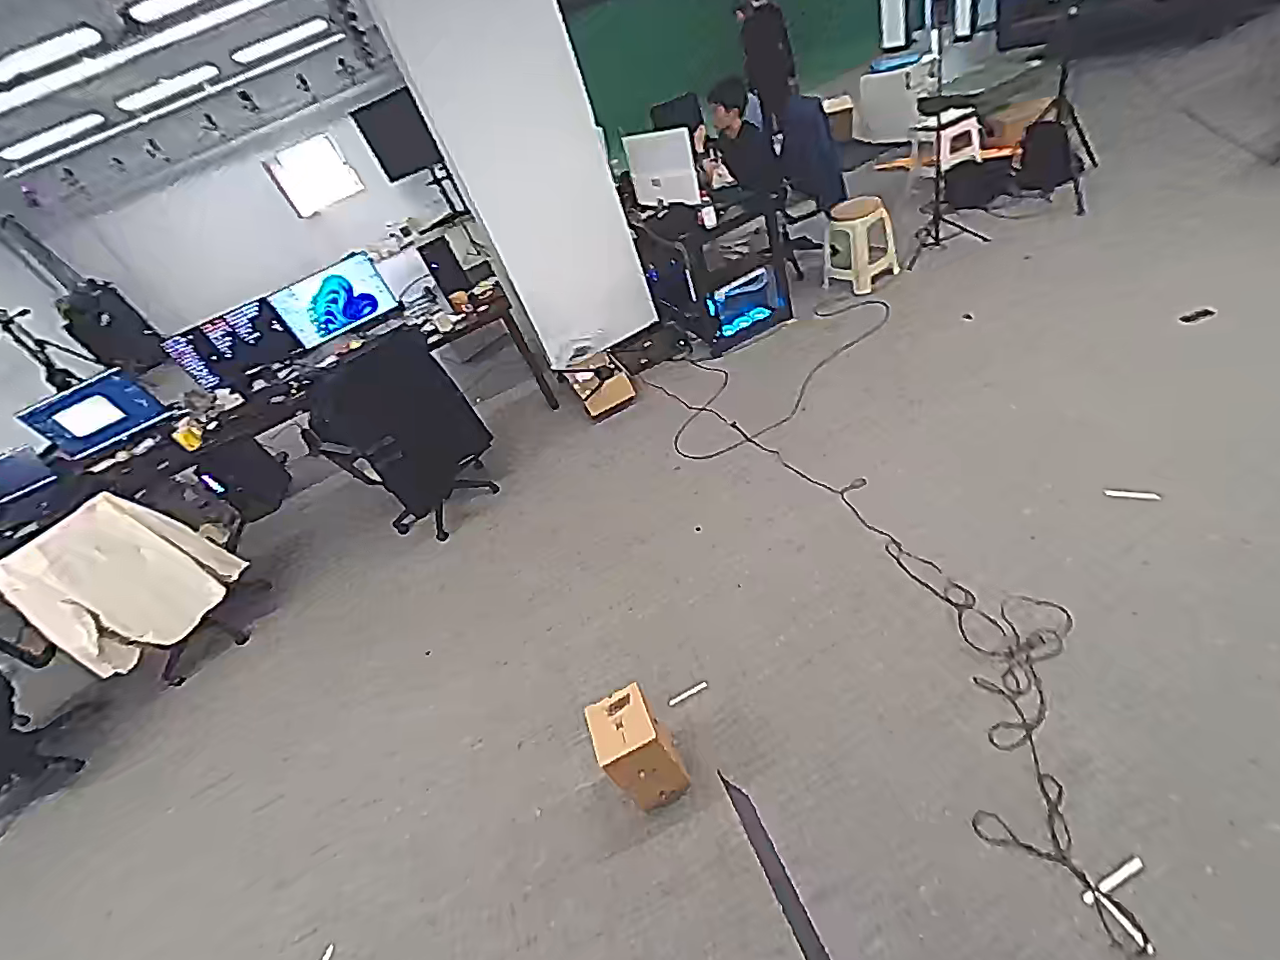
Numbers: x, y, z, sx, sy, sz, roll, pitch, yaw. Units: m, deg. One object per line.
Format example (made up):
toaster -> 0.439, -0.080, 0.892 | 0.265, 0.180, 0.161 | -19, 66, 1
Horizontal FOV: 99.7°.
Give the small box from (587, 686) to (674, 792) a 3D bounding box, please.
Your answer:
small box -> -0.026, 0.713, 1.486 | 0.168, 0.176, 0.179 | -27, 38, -3
